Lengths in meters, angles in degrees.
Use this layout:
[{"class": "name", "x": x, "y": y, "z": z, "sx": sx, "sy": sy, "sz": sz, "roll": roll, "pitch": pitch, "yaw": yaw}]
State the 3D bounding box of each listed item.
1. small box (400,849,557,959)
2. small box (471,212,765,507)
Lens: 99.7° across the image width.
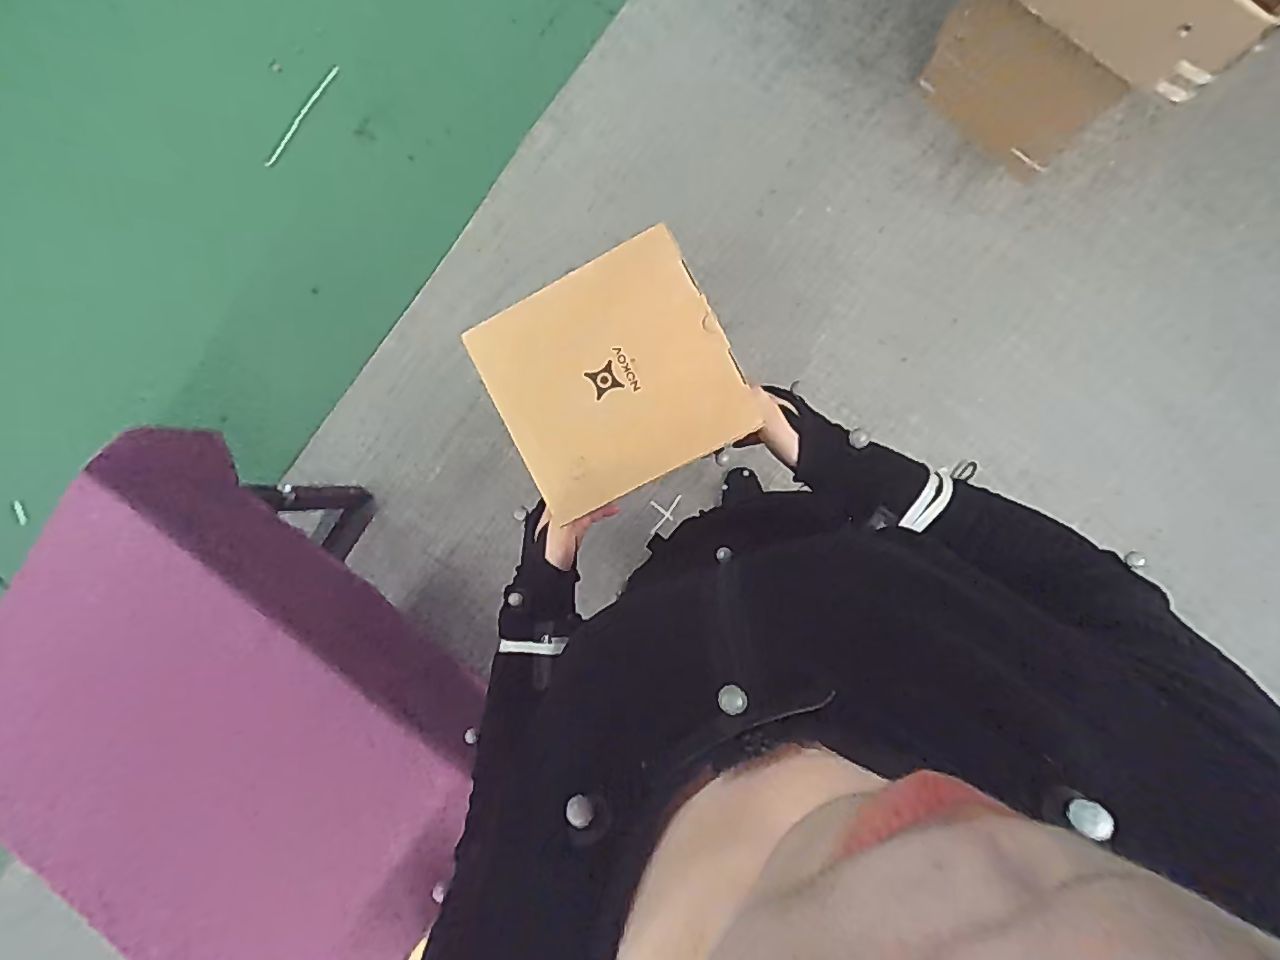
[{"class": "small box", "x": -0.230, "y": 0.657, "z": 0.728, "sx": 0.168, "sy": 0.176, "sz": 0.179, "roll": 33, "pitch": 94, "yaw": 7}, {"class": "small box", "x": -0.011, "y": -0.089, "z": 0.478, "sx": 0.179, "sy": 0.176, "sz": 0.168, "roll": -26, "pitch": 90, "yaw": 5}]
